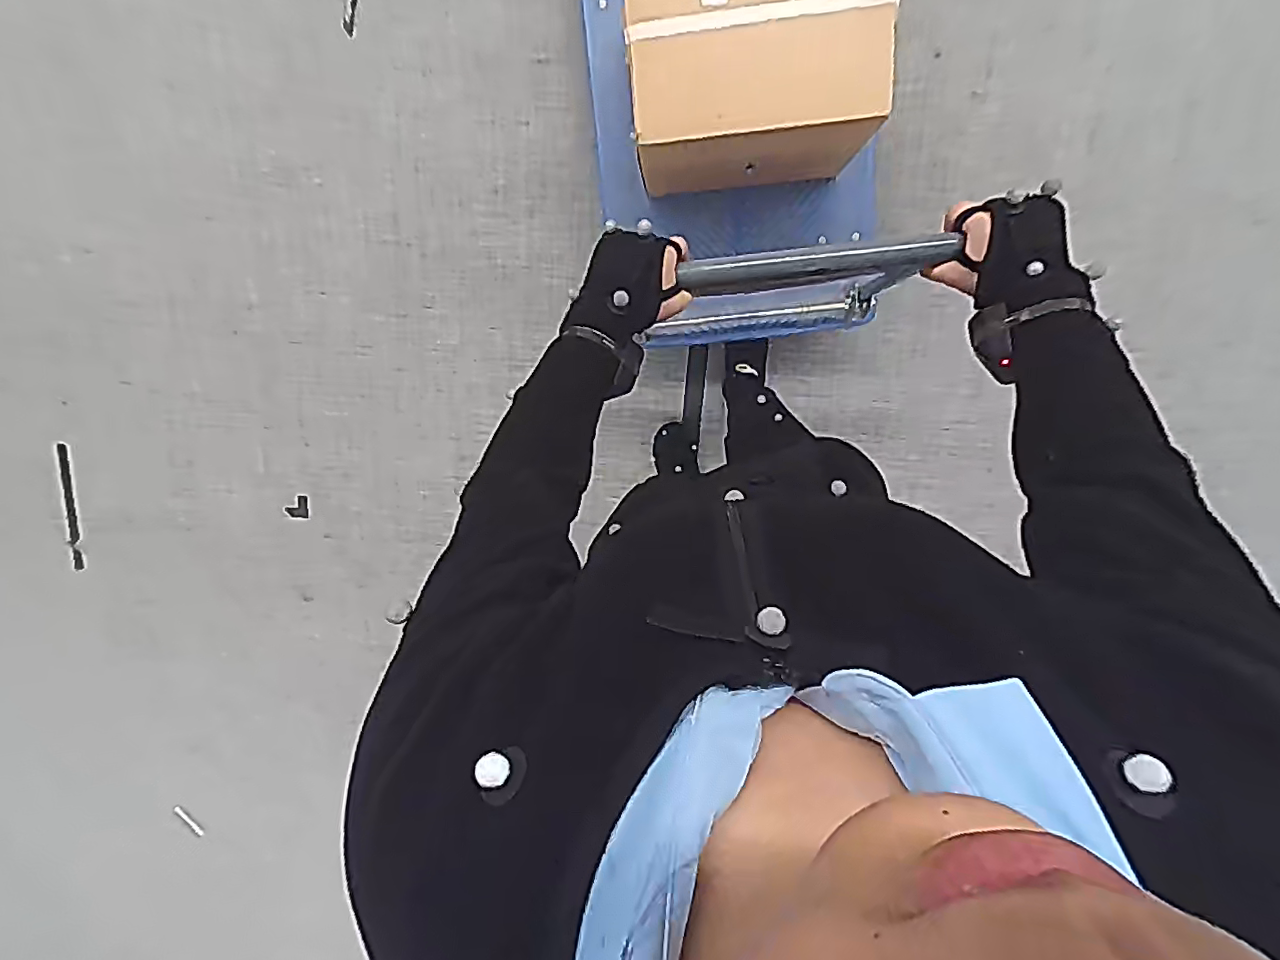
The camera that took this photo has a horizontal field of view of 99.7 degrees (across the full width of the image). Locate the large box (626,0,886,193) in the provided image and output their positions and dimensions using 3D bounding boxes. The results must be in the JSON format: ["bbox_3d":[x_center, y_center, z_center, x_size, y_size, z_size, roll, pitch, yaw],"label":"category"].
[{"bbox_3d":[0.196,-0.755,0.993,0.408,0.320,0.320,-4,102,6],"label":"large box"}]
